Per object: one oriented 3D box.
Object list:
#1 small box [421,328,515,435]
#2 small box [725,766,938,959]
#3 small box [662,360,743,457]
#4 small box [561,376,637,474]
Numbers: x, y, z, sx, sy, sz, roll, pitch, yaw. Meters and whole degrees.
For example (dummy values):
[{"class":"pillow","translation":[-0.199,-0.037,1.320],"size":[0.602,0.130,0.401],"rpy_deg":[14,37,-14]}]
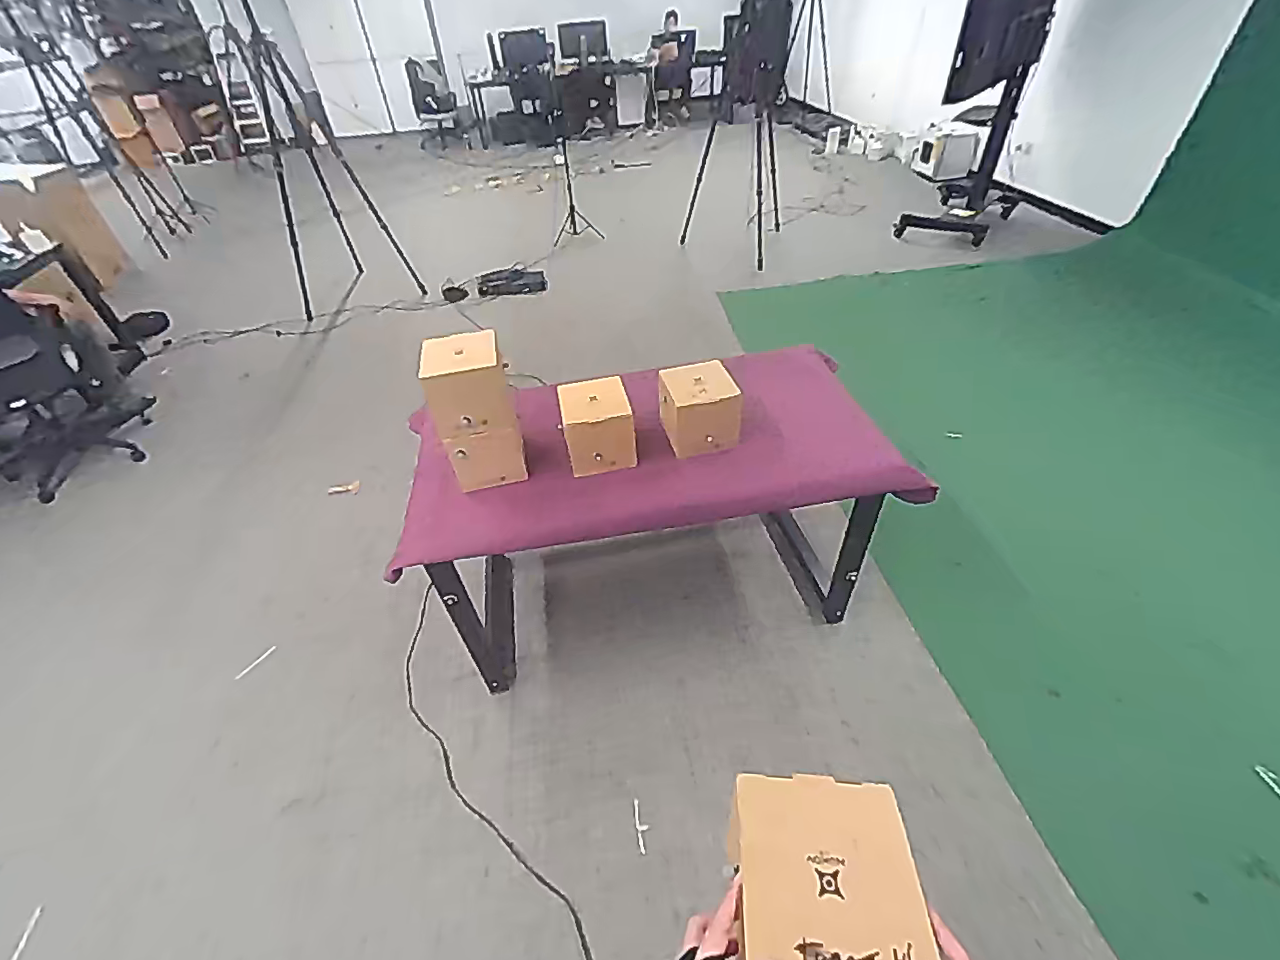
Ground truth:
[{"class":"small box","translation":[-0.390,-0.228,1.249],"size":[0.168,0.176,0.179],"rpy_deg":[-11,43,-7]},{"class":"small box","translation":[0.178,0.430,0.560],"size":[0.168,0.176,0.179],"rpy_deg":[2,37,5]},{"class":"small box","translation":[0.156,-0.185,1.403],"size":[0.168,0.176,0.179],"rpy_deg":[-11,44,-7]},{"class":"small box","translation":[-0.104,-0.141,1.378],"size":[0.168,0.176,0.179],"rpy_deg":[-10,44,-7]}]
